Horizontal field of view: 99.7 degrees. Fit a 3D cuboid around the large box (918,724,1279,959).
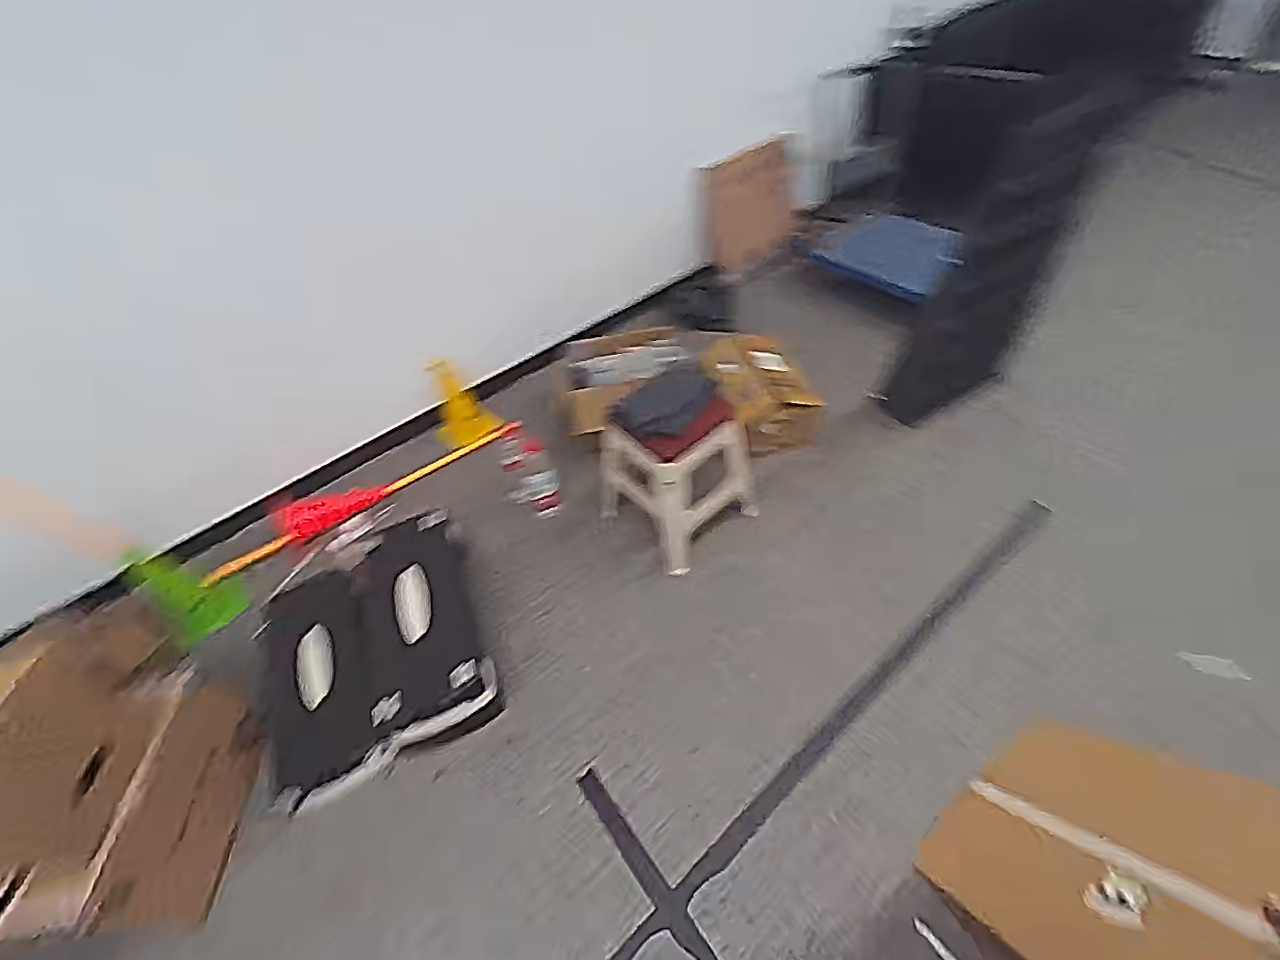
[{"bbox_3d":[0.651,0.568,0.646,0.320,0.408,0.320,-38,87,-11],"label":"large box"}]
